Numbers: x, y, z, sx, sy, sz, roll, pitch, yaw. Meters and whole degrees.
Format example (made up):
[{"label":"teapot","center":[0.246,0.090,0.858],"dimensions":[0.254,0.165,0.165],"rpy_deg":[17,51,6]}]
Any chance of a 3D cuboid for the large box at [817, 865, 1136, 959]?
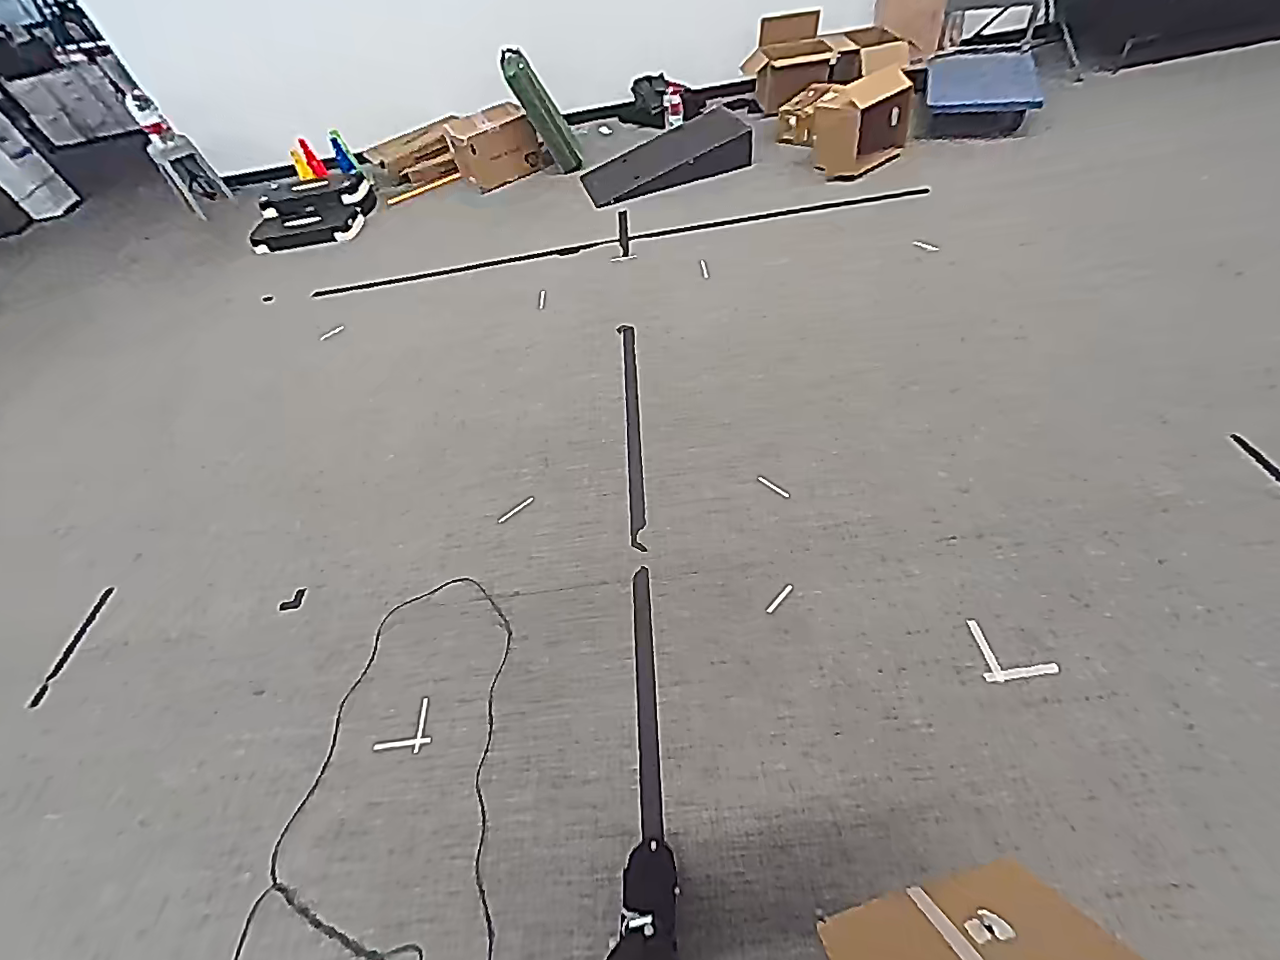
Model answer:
[{"label":"large box","center":[0.448,0.719,0.589],"dimensions":[0.320,0.408,0.320],"rpy_deg":[-18,75,-1]}]
